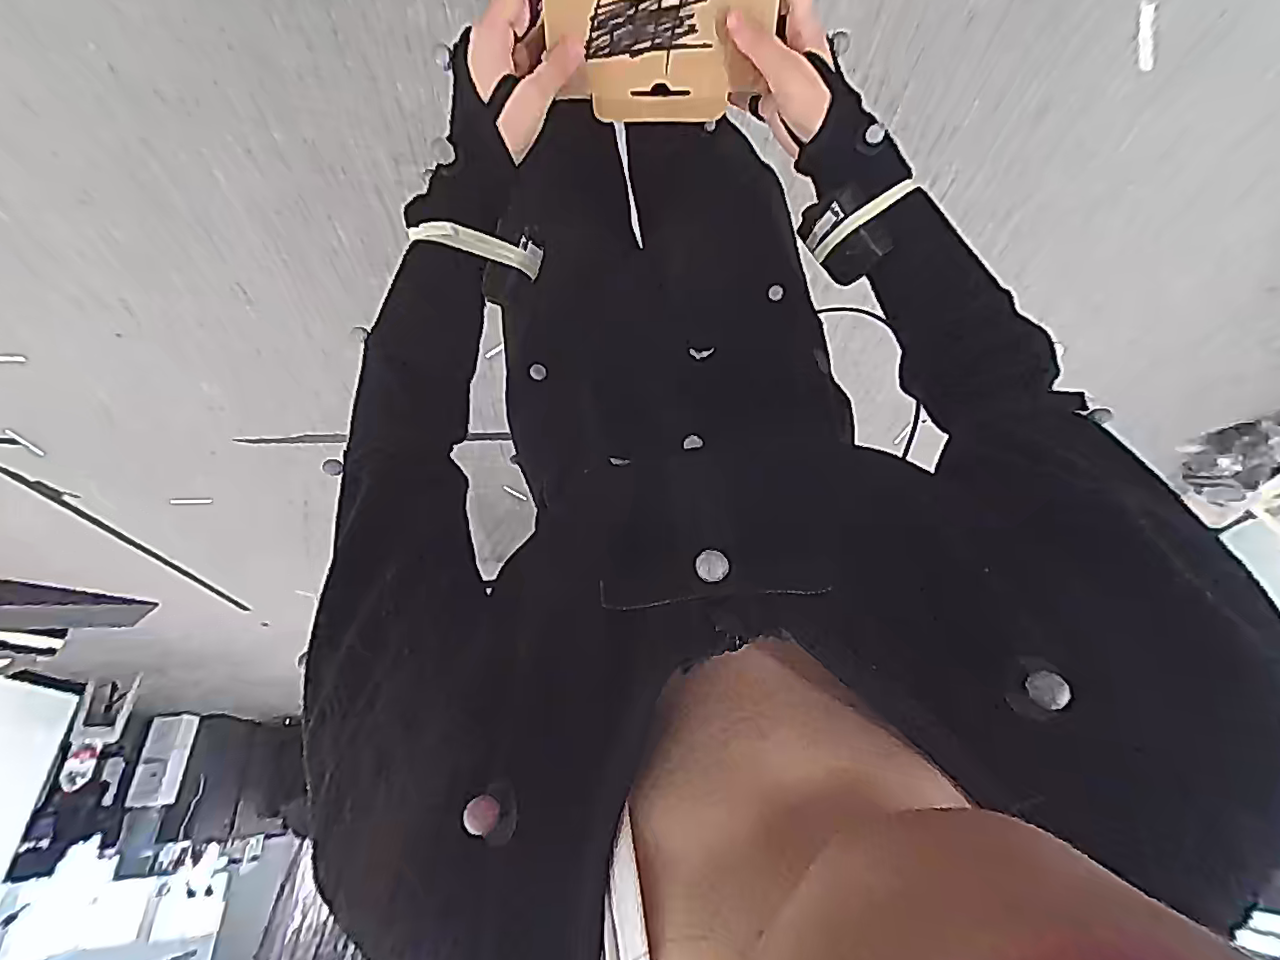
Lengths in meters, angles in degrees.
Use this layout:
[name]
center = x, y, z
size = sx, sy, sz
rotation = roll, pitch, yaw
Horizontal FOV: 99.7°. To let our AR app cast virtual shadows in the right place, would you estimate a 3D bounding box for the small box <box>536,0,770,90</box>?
[small box]
center = 0.007, -0.411, 0.410
size = 0.168, 0.176, 0.179
rotation = -2, 129, -2
